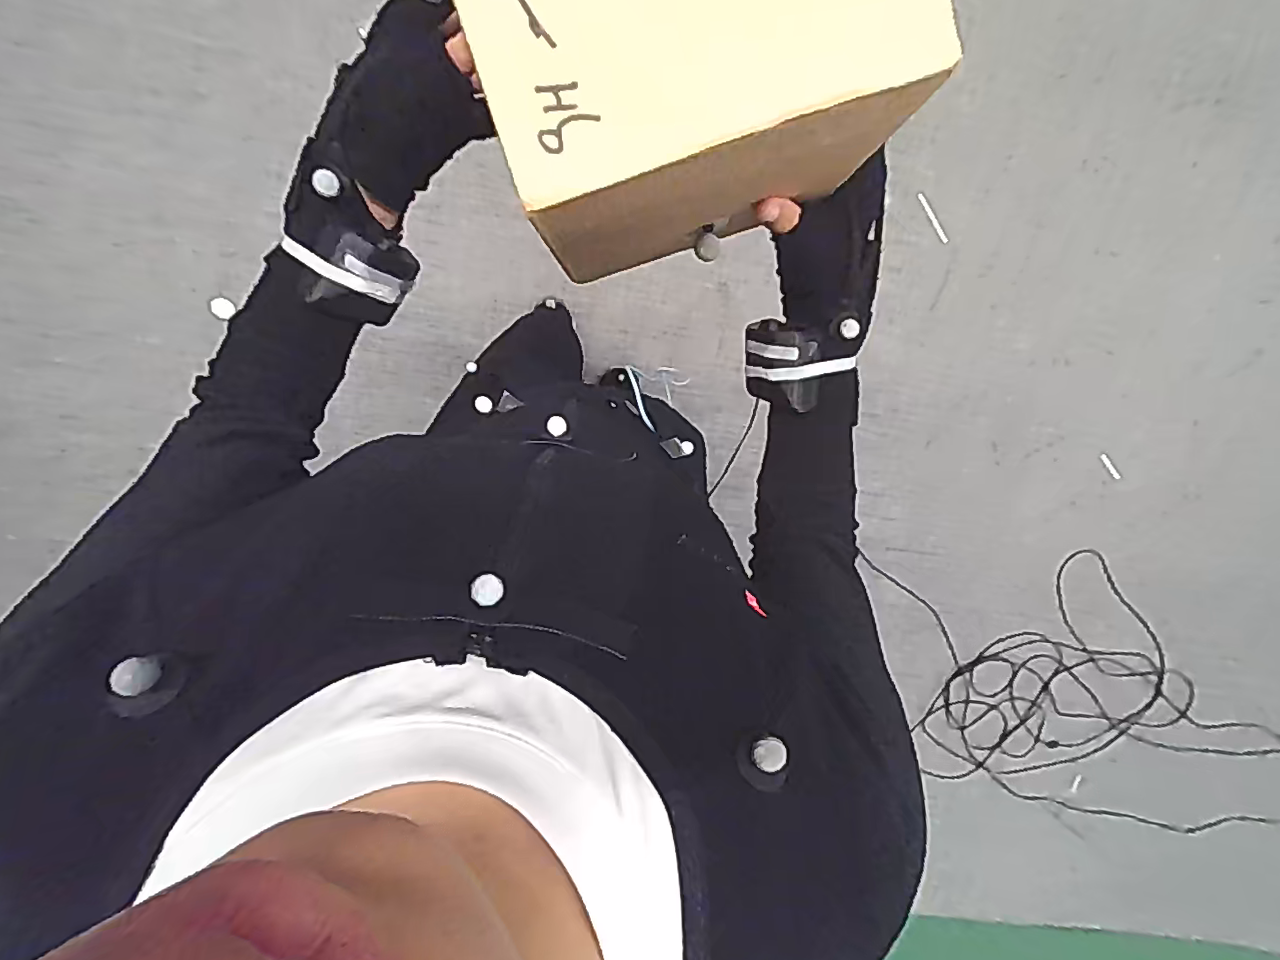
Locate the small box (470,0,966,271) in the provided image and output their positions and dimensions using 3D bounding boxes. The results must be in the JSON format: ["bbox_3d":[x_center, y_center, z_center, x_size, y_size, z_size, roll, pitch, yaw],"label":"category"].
[{"bbox_3d":[0.016,-0.222,0.268,0.179,0.176,0.168,-17,100,2],"label":"small box"}]
